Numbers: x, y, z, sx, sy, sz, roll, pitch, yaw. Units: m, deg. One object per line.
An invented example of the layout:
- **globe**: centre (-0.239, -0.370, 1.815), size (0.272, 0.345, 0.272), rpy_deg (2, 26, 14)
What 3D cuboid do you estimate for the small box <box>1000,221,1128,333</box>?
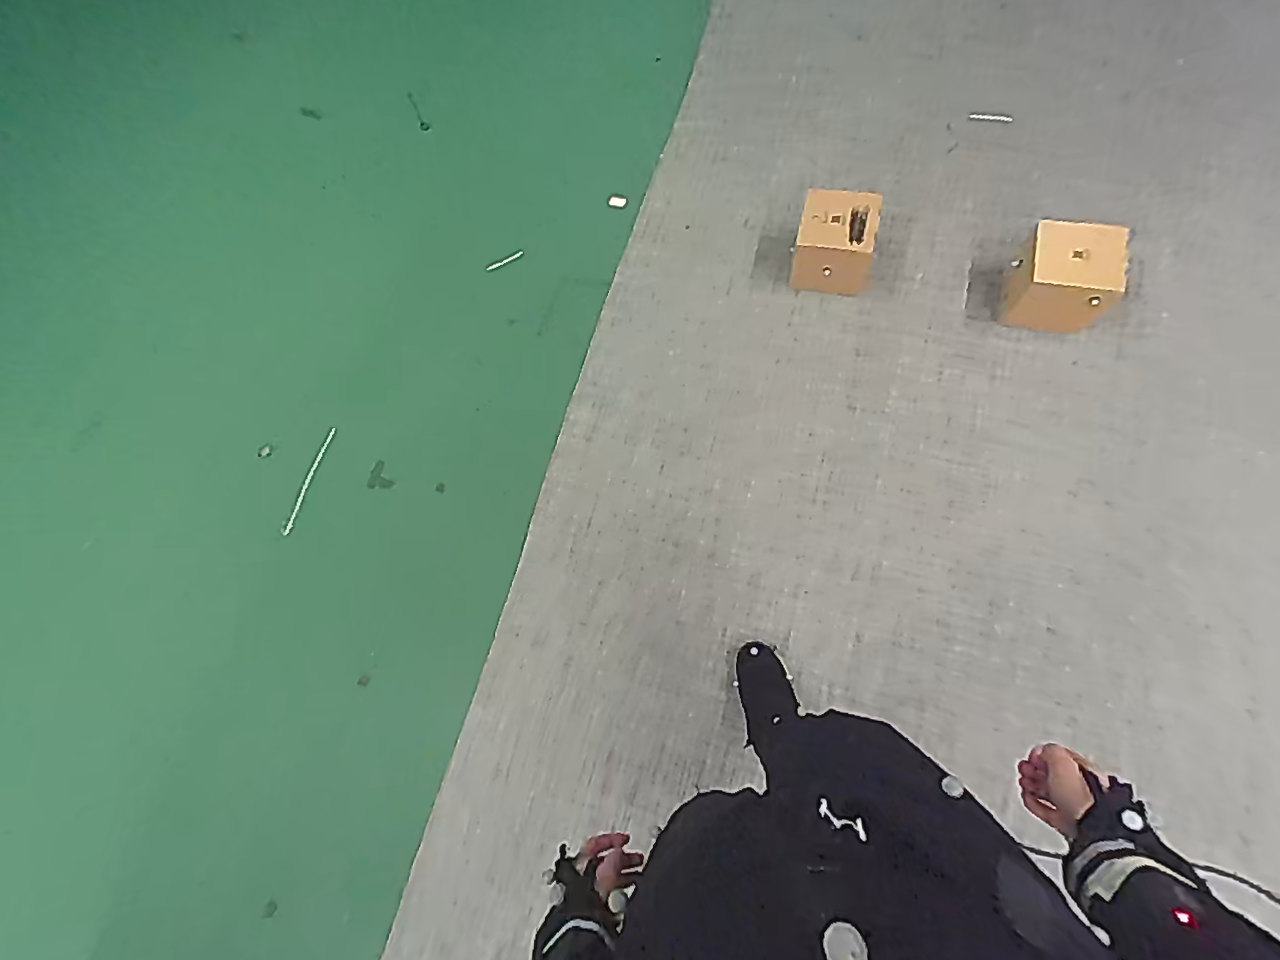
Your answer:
- **small box**: centre (0.949, -0.454, 1.225), size (0.179, 0.176, 0.168), rpy_deg (11, 76, 12)
